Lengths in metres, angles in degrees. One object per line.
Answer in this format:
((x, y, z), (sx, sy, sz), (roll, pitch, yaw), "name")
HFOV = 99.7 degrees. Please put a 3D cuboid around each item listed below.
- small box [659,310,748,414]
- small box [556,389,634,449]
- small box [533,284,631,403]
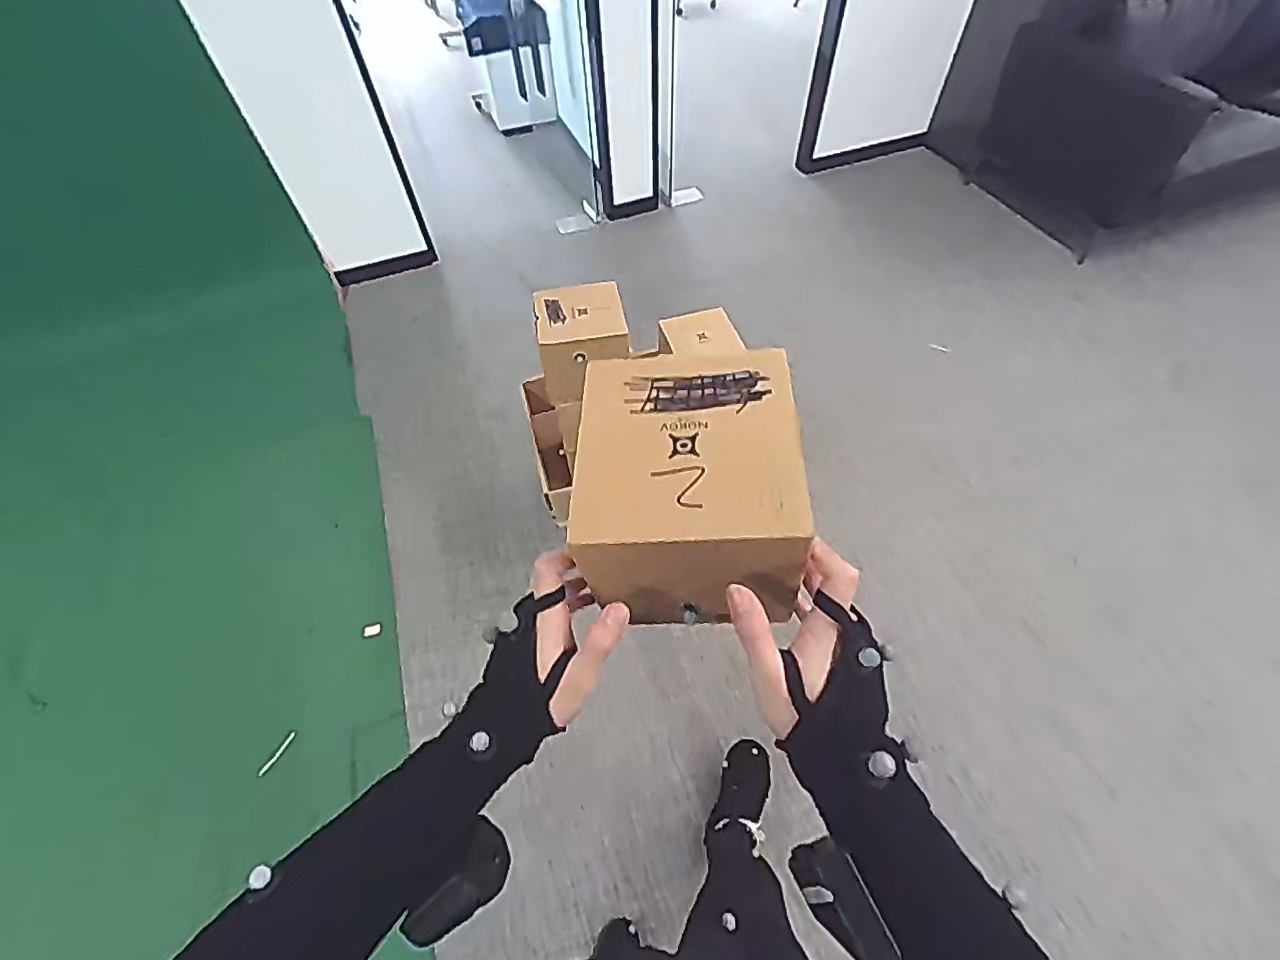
((0.148, -0.280, 1.317), (0.168, 0.176, 0.179), (-14, 56, -8), "small box")
((-0.111, -0.190, 1.266), (0.168, 0.176, 0.179), (-12, 56, -6), "small box")
((-0.118, -0.279, 1.128), (0.179, 0.176, 0.168), (-9, 56, -5), "small box")
